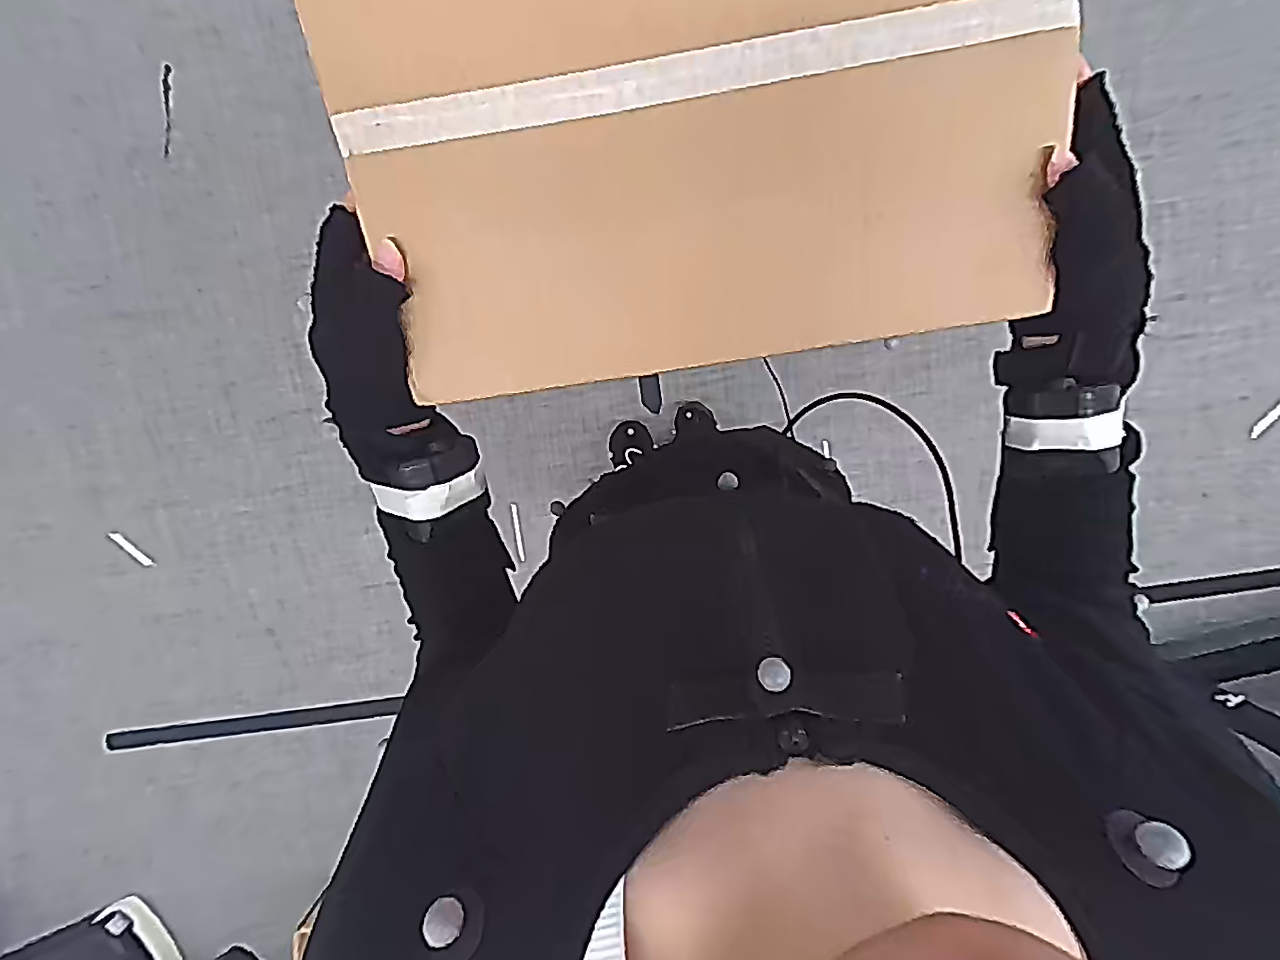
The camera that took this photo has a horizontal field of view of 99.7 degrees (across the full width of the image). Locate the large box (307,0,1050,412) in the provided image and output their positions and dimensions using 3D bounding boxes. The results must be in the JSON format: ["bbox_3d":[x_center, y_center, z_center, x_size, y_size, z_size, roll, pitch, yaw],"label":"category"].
[{"bbox_3d":[0.028,-0.267,0.446,0.408,0.320,0.320,-8,108,3],"label":"large box"}]
